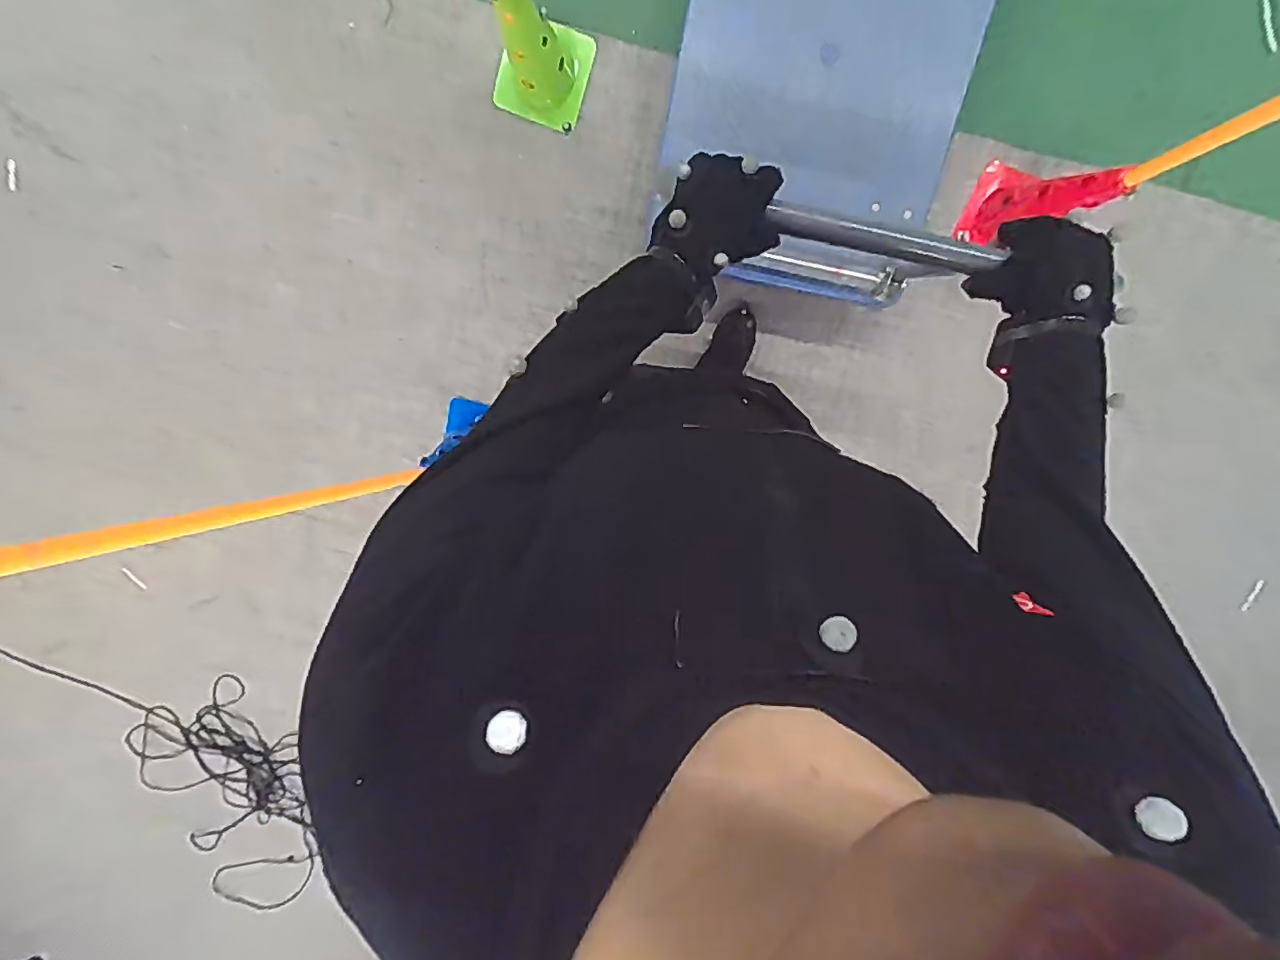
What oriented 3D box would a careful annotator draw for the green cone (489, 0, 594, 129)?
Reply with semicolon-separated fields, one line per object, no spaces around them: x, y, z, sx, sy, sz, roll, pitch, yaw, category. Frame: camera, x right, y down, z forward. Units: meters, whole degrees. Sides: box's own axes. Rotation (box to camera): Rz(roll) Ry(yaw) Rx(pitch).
-0.231;-0.896;1.075;0.202;0.368;0.200;19;105;-2;green cone
